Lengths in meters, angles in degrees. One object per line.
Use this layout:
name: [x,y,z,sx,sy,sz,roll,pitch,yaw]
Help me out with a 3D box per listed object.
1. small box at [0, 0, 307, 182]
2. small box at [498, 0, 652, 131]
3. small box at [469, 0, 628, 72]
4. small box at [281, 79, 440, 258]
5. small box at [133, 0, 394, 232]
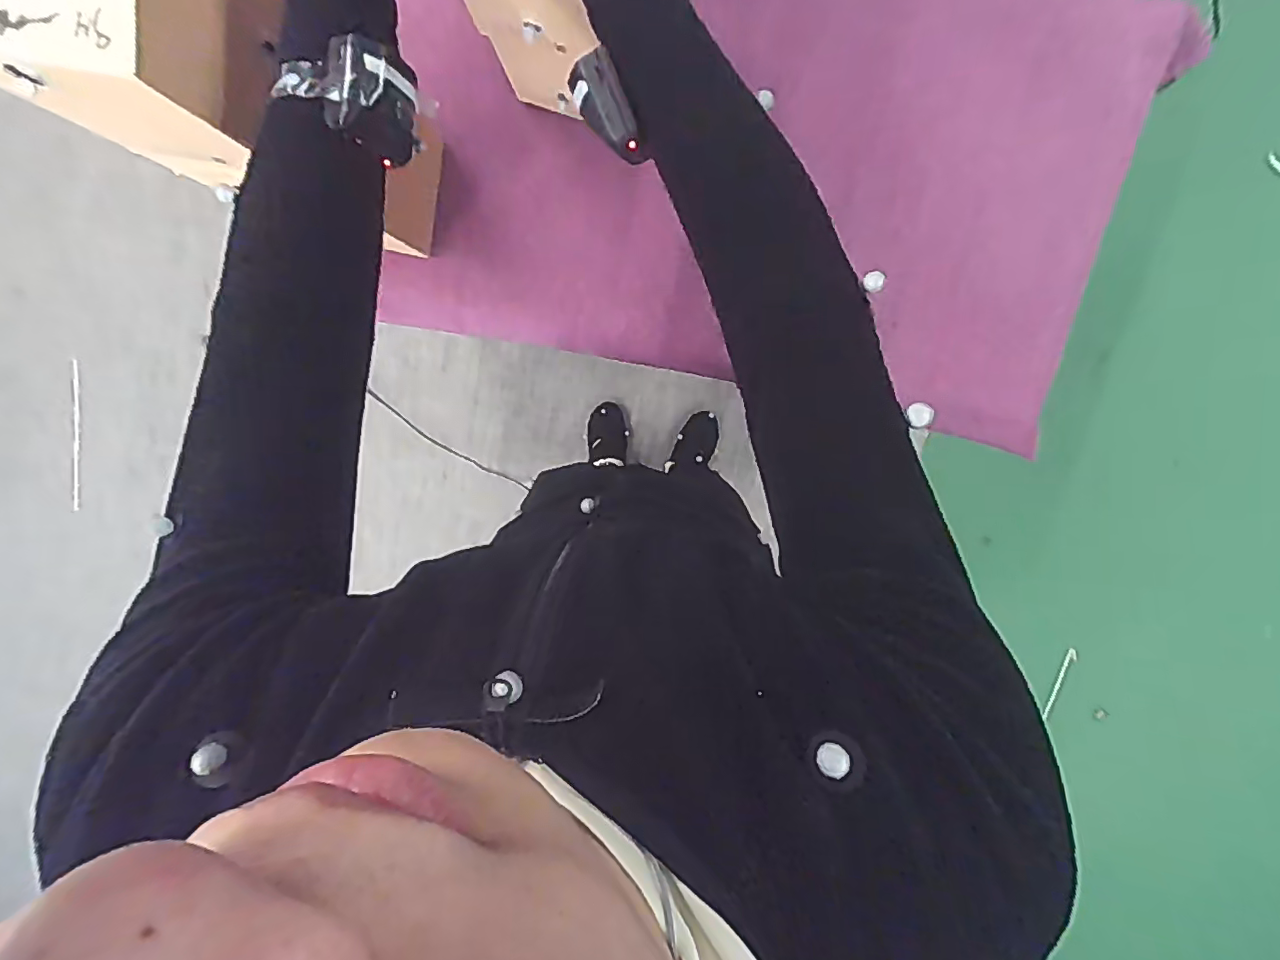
small box: [-0.396,-0.371,0.425,0.168,0.176,0.179,10,98,1]
small box: [-0.082,-0.606,0.709,0.168,0.176,0.179,17,101,-2]
small box: [-0.092,-0.571,0.548,0.168,0.176,0.179,15,101,-2]
small box: [-0.393,-0.429,0.746,0.168,0.176,0.179,12,100,-1]
small box: [-0.392,-0.394,0.589,0.168,0.176,0.179,12,99,0]
